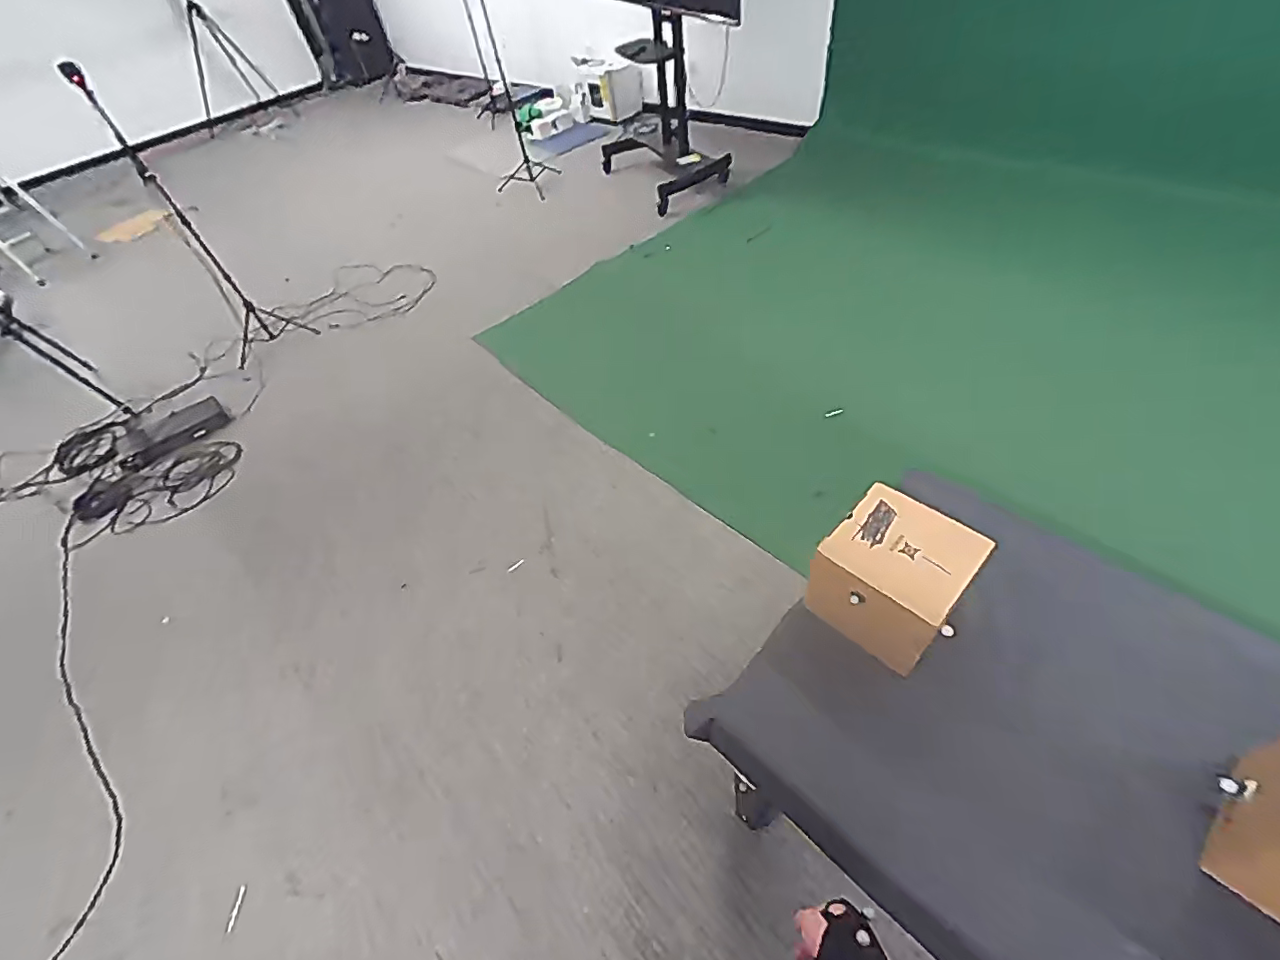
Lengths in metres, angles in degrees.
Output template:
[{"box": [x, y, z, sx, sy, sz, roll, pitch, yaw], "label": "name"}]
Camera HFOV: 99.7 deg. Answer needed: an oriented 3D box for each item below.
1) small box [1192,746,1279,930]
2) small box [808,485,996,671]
[{"box": [0.736, 0.386, 0.546, 0.179, 0.176, 0.168, 34, 60, 32], "label": "small box"}, {"box": [0.371, 0.147, 0.800, 0.168, 0.176, 0.179, -40, 57, -23], "label": "small box"}]
